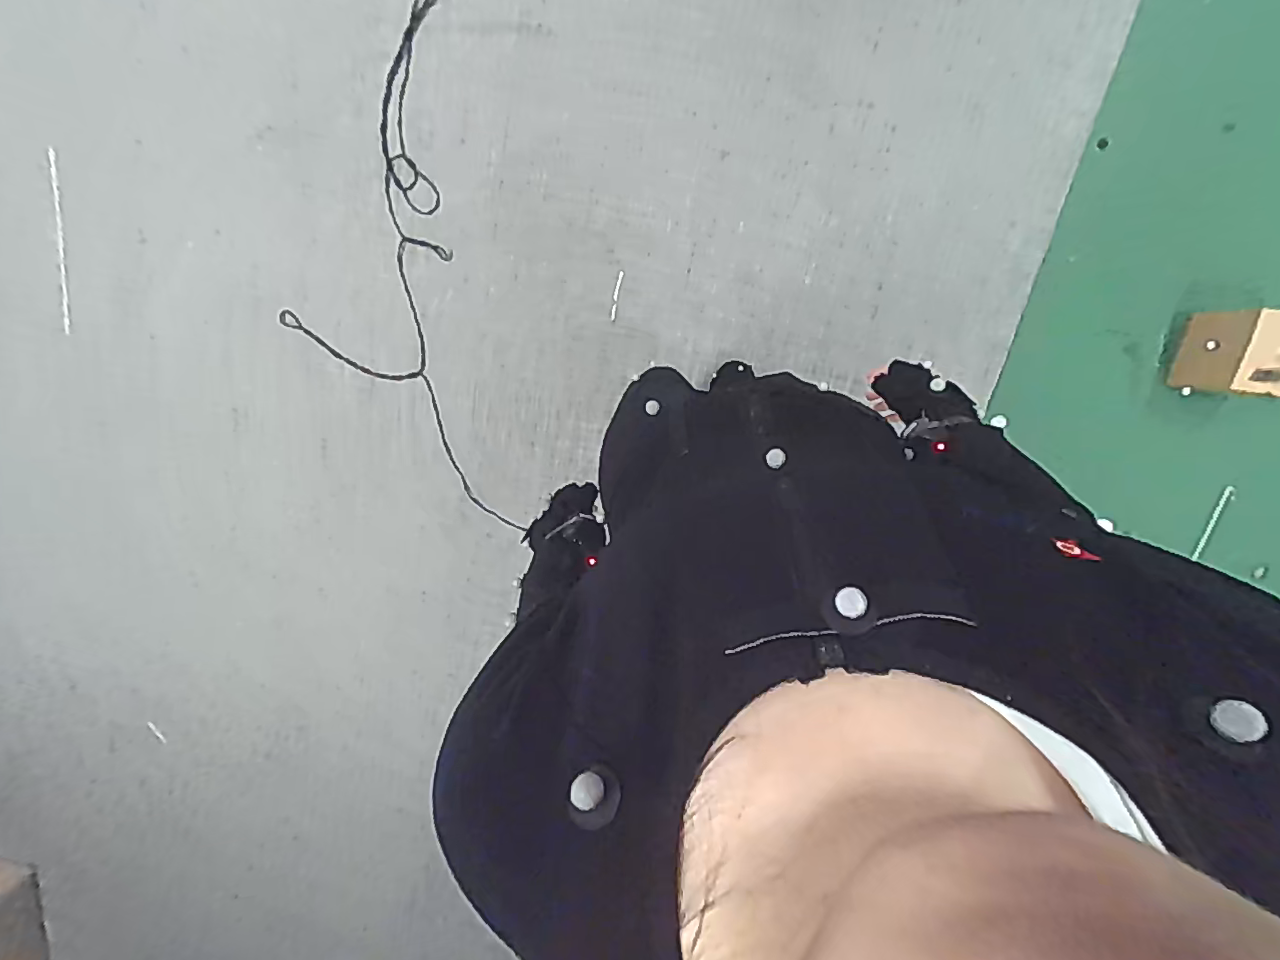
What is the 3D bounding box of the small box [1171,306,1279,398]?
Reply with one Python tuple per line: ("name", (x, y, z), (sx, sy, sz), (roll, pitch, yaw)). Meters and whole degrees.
("small box", (1.384, -0.289, 1.233), (0.168, 0.176, 0.179), (10, 103, 2))
